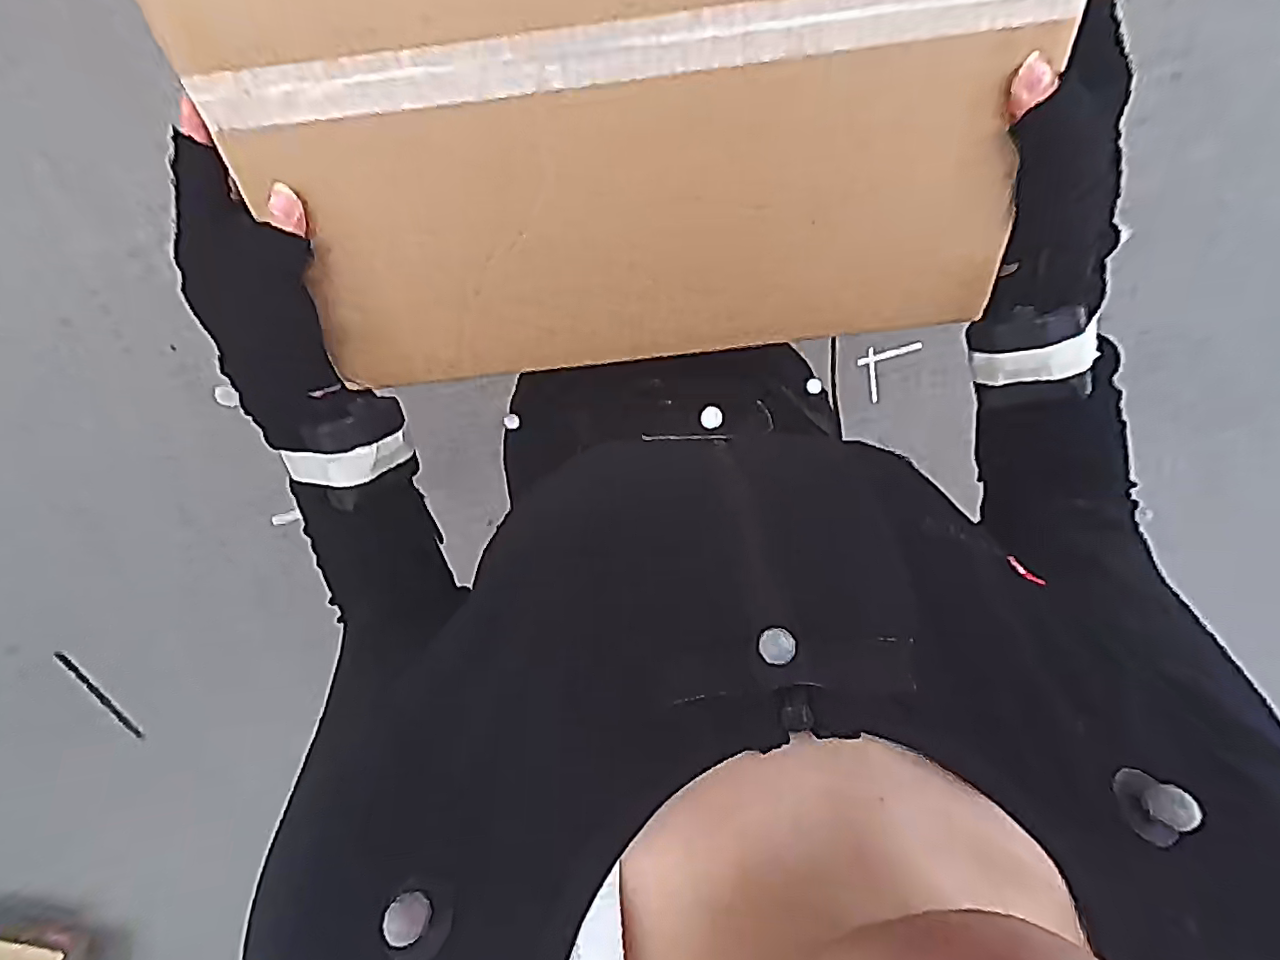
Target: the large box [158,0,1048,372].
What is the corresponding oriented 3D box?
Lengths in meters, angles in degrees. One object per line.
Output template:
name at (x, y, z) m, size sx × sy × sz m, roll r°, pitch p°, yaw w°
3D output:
large box at (-0.015, -0.305, 0.359) m, size 0.408 × 0.320 × 0.320 m, roll -6°, pitch 131°, yaw 1°
